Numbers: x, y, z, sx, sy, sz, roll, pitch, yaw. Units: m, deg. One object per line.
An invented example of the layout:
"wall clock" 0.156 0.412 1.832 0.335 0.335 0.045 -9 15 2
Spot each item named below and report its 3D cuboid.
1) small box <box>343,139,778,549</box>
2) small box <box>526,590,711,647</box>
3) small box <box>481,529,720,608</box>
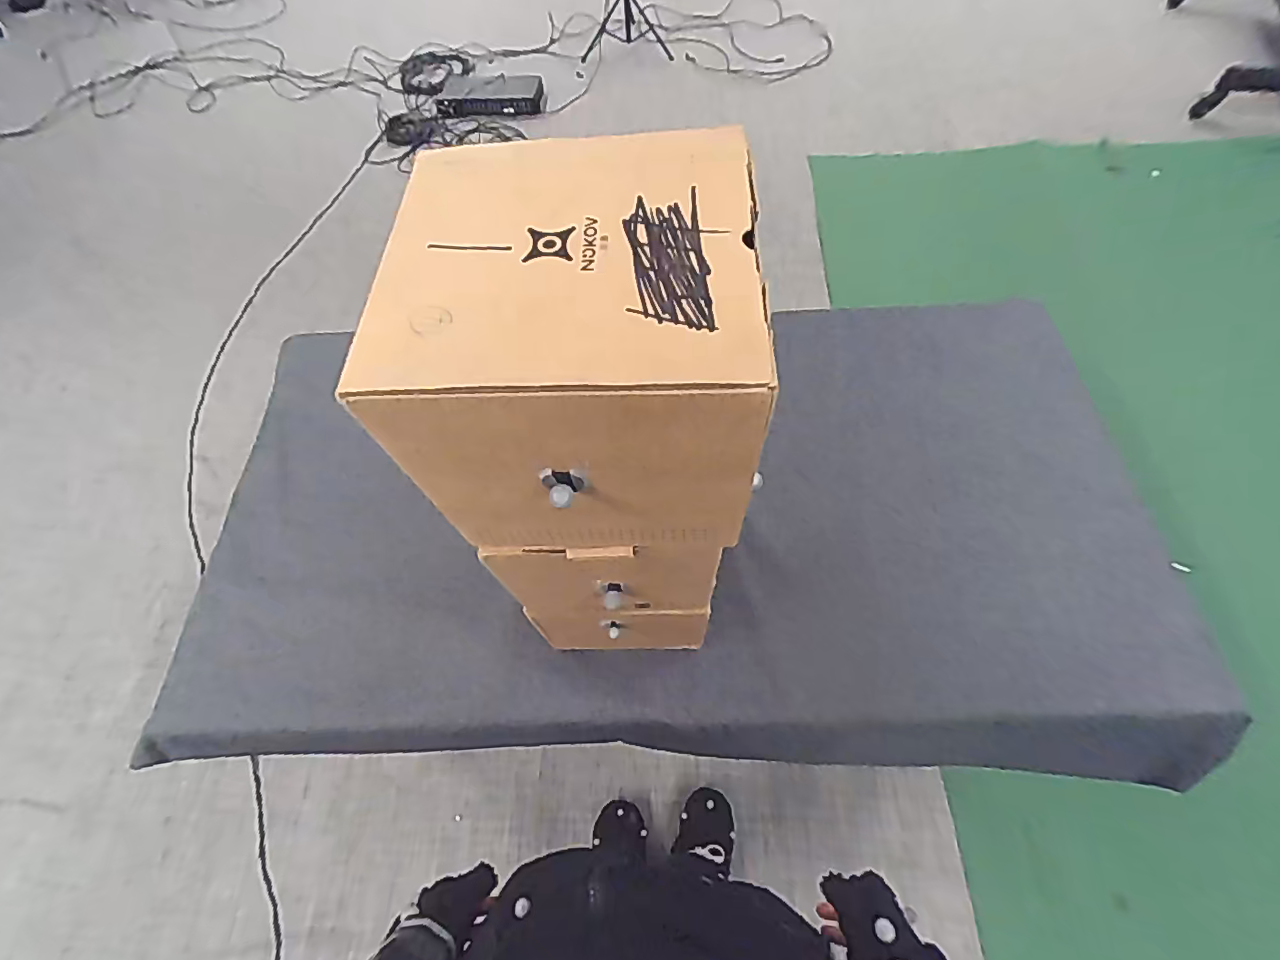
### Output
"small box" -0.026 -0.065 0.318 0.179 0.176 0.168 -1 62 4
"small box" -0.017 0.089 0.608 0.179 0.176 0.168 -1 62 1
"small box" -0.024 0.009 0.466 0.168 0.176 0.179 -3 63 2
